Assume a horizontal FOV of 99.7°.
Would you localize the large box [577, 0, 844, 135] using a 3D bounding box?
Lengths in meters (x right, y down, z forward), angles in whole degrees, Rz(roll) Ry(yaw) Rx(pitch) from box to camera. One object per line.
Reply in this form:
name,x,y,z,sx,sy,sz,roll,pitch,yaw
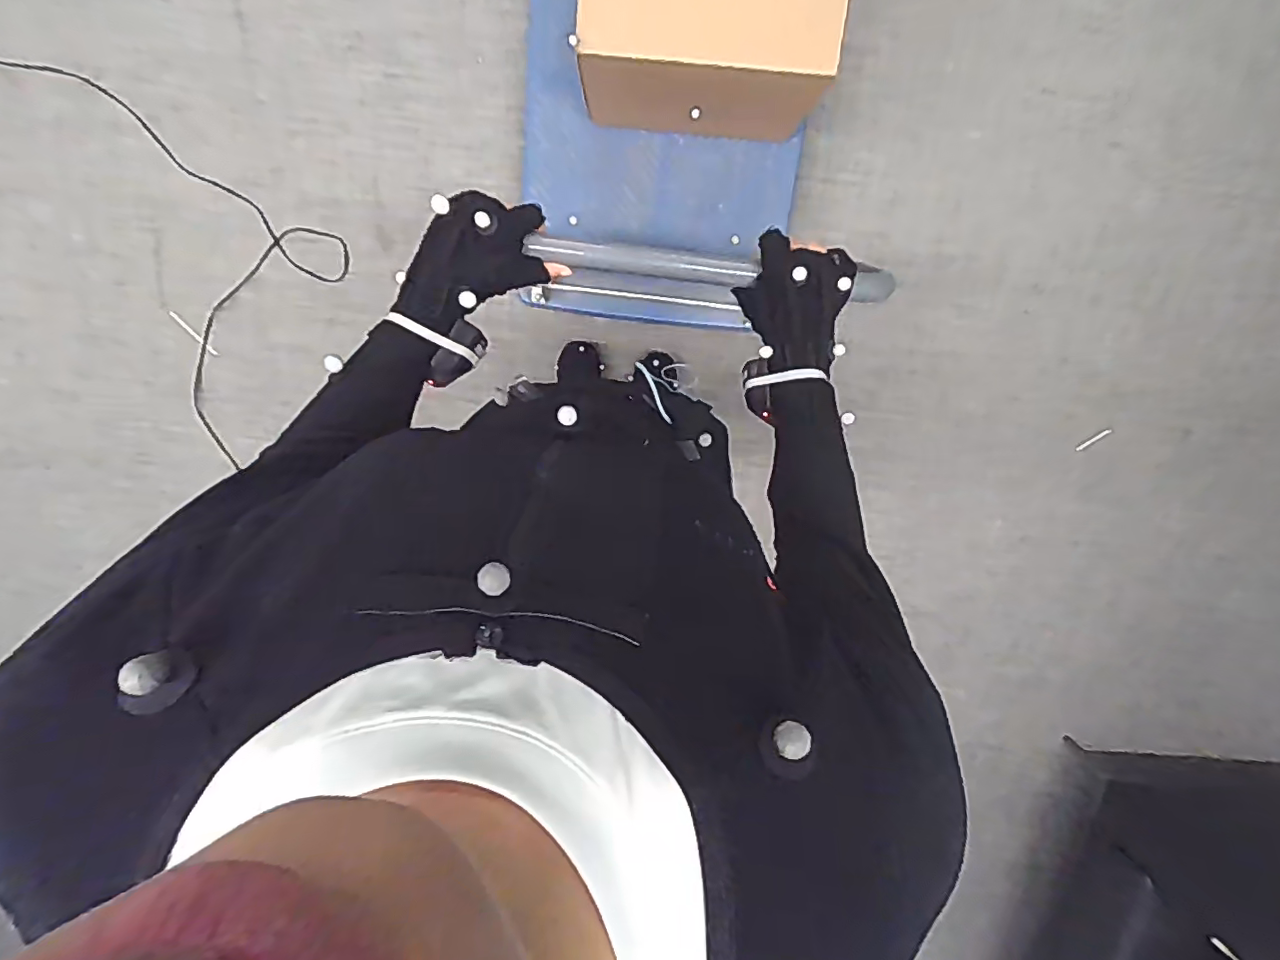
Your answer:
large box,0.114,-0.823,0.930,0.408,0.320,0.320,4,105,-1
